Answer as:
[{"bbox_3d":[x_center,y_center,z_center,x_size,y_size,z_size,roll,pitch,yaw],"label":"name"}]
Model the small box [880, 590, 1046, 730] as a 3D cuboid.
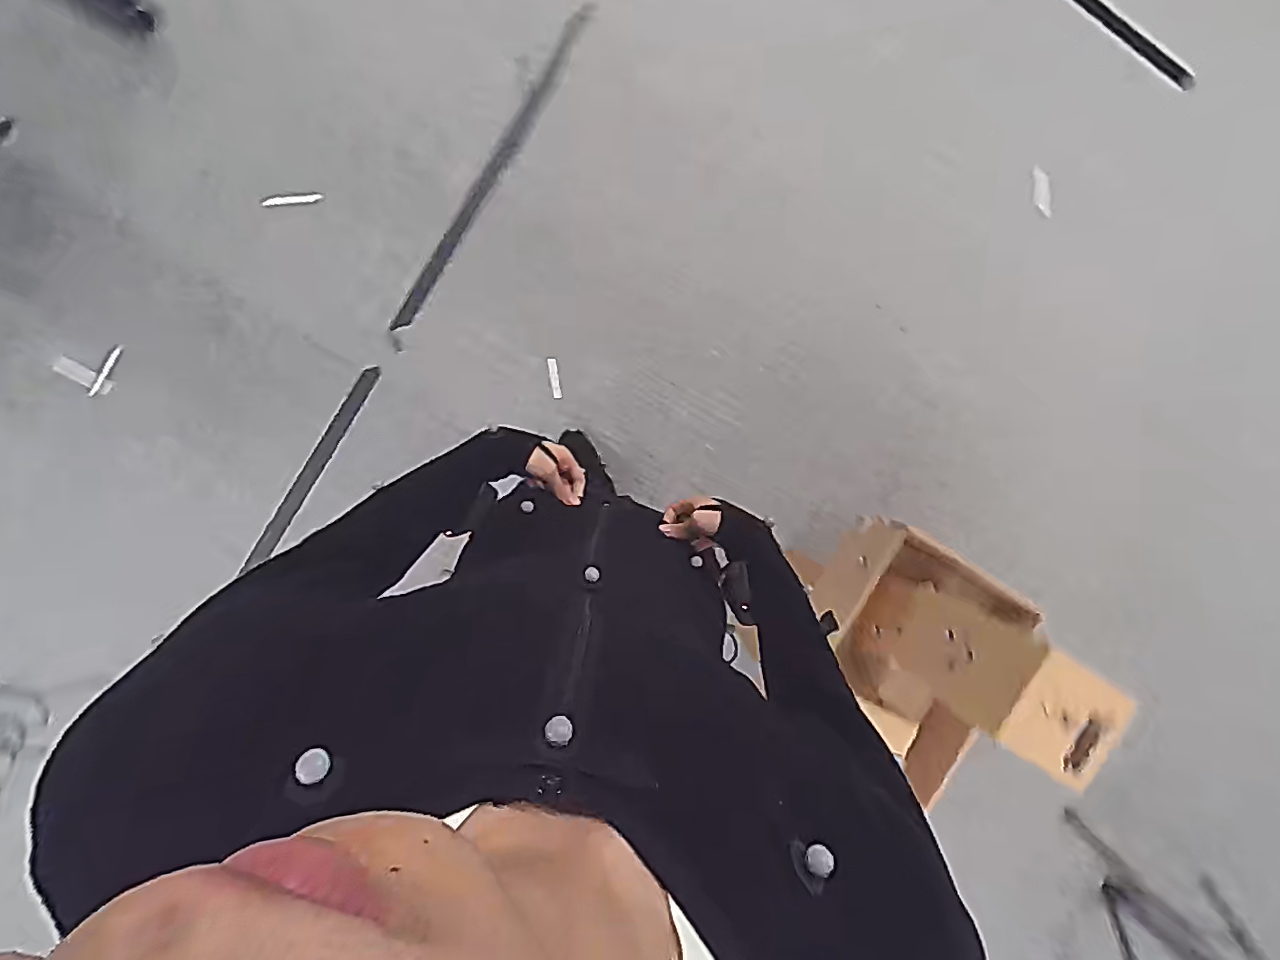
[{"bbox_3d":[0.612,0.335,1.044,0.179,0.176,0.168,32,91,-8],"label":"small box"}]
